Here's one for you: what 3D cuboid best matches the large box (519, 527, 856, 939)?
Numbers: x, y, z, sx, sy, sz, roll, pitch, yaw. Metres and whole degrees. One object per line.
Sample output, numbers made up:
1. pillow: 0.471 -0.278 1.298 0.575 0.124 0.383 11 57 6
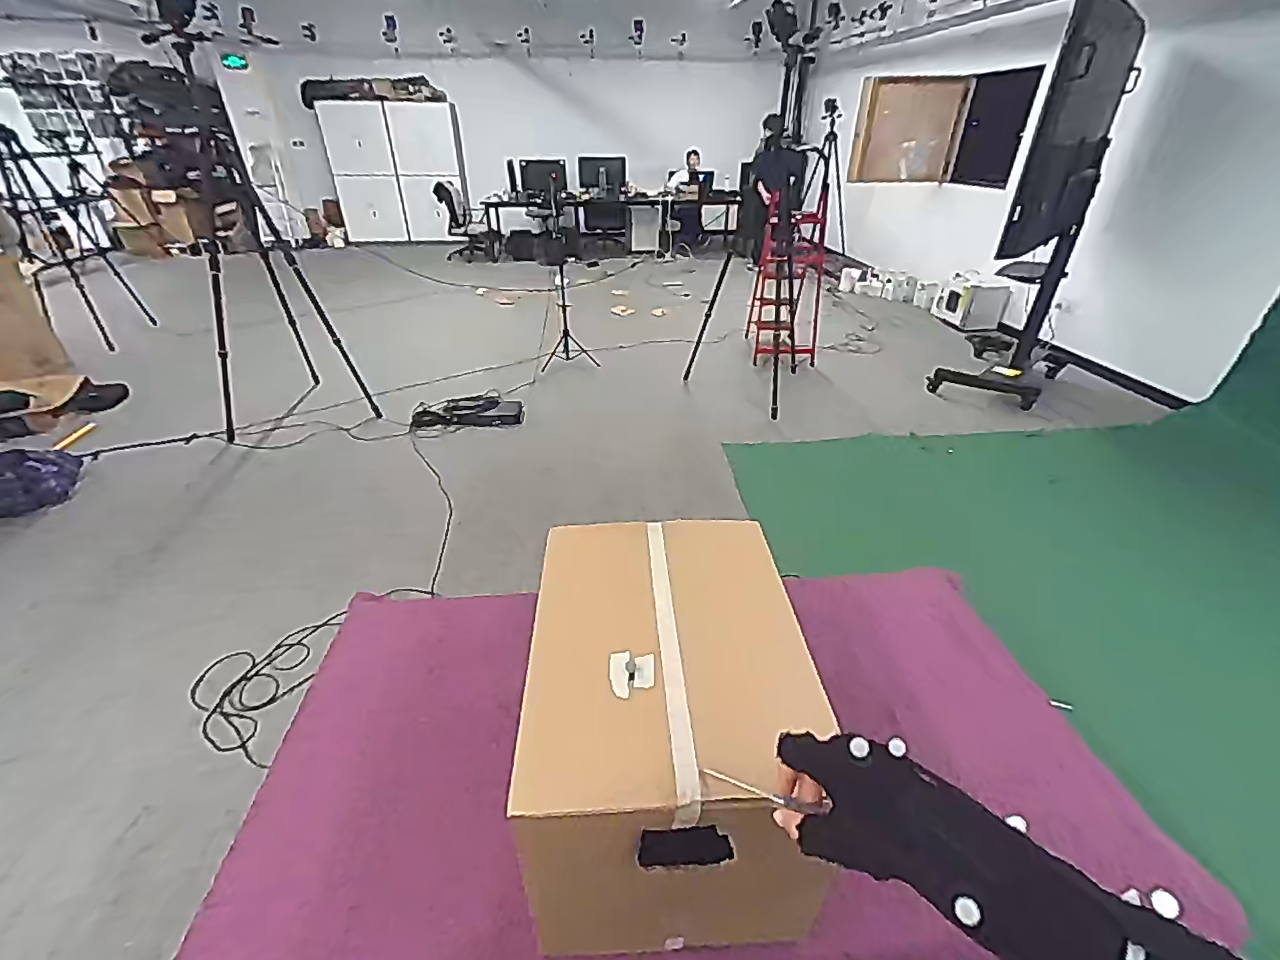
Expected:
1. large box: 0.029 0.305 0.725 0.320 0.320 0.408 -1 33 -3
